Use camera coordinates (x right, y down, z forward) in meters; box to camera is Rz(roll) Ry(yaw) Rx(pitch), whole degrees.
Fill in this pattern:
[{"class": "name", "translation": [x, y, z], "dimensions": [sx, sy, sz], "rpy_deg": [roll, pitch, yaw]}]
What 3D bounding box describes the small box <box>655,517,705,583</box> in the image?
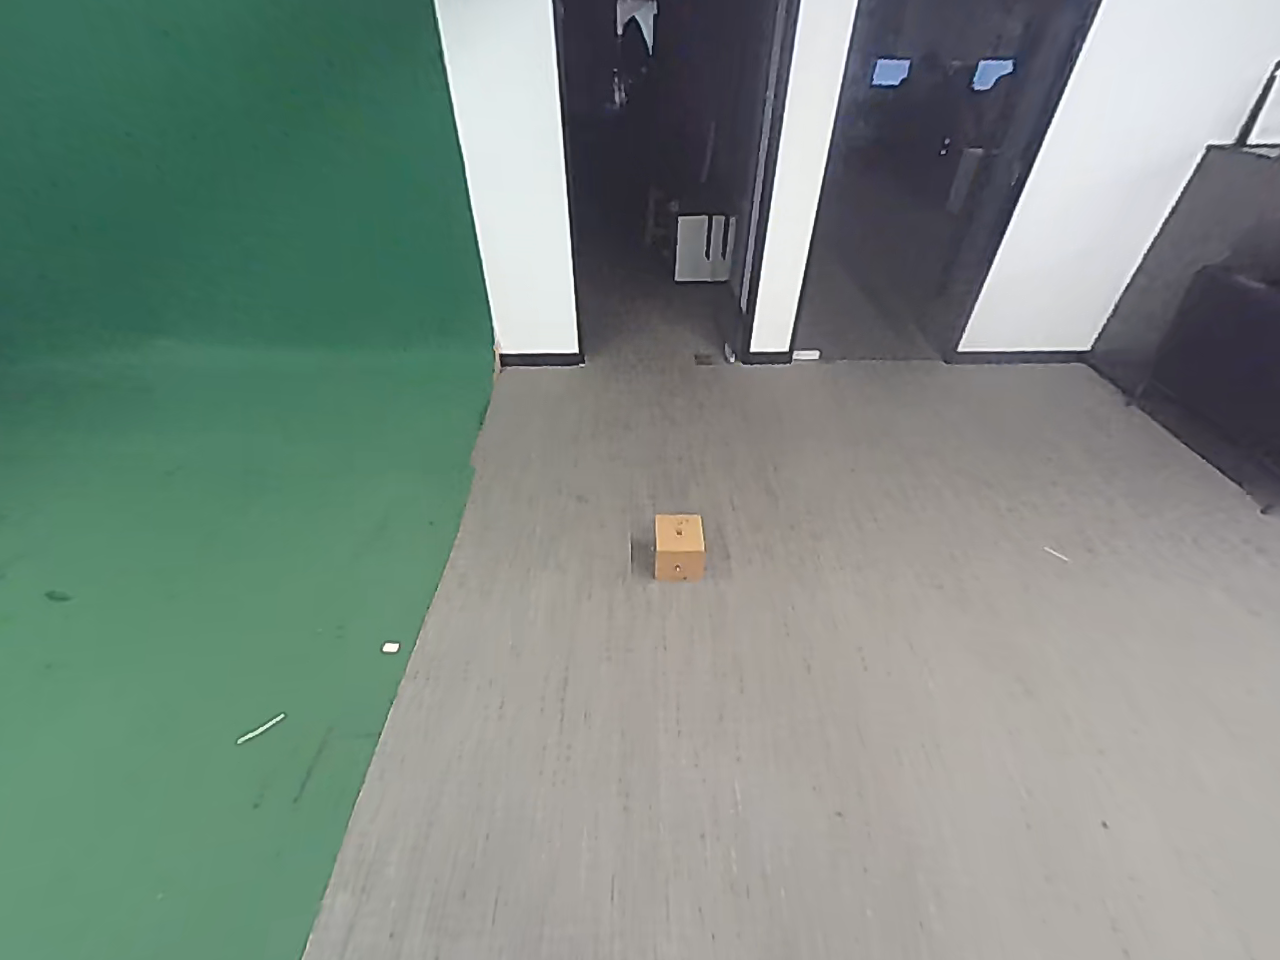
[{"class": "small box", "translation": [0.140, 0.252, 1.928], "dimensions": [0.168, 0.176, 0.179], "rpy_deg": [1, 41, 0]}]
